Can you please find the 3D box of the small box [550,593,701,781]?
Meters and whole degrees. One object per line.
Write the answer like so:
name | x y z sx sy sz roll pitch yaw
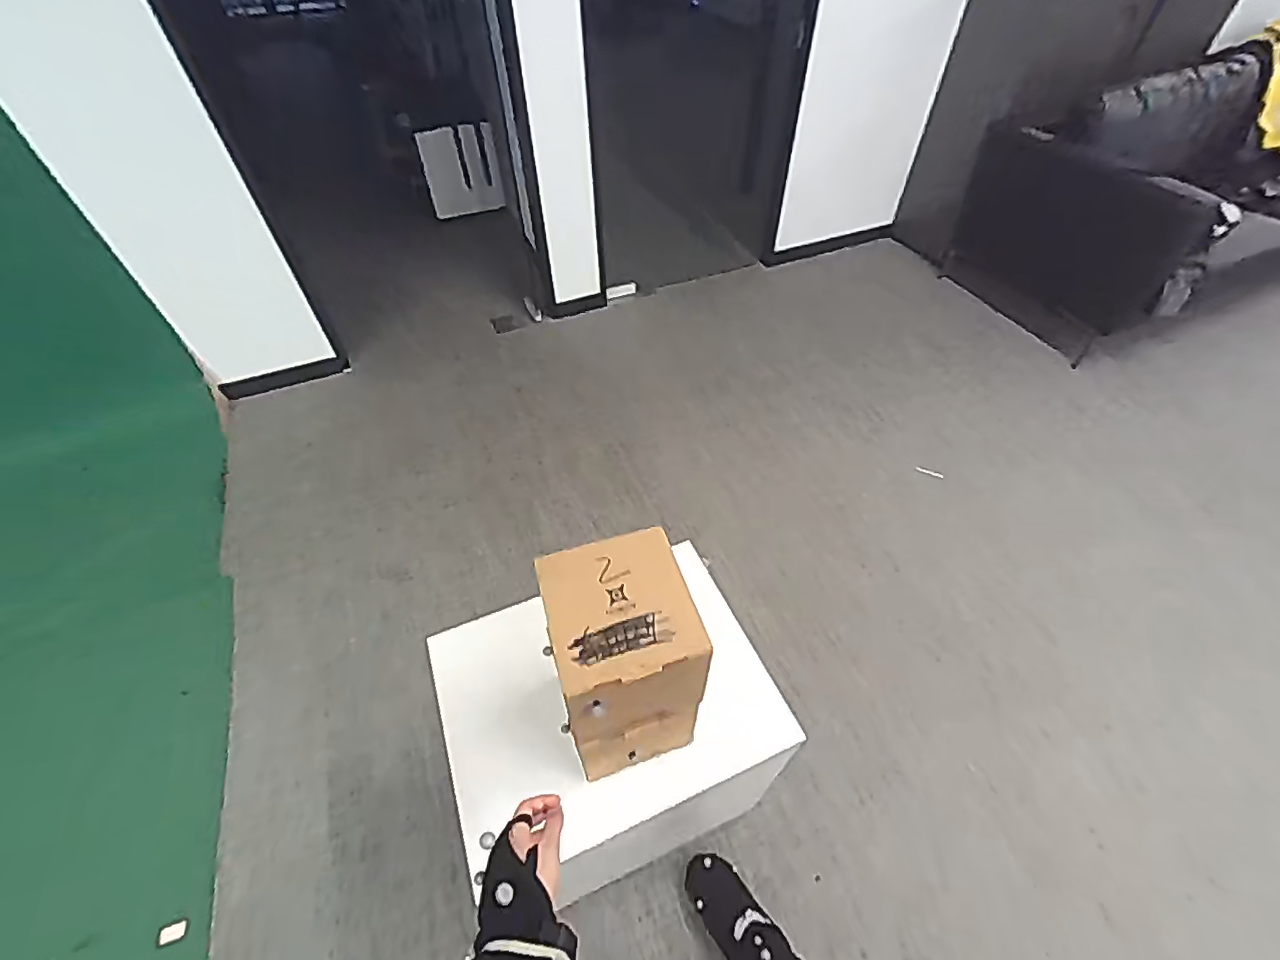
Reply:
small box | -0.025 0.299 0.783 0.168 0.176 0.179 -15 49 -12
